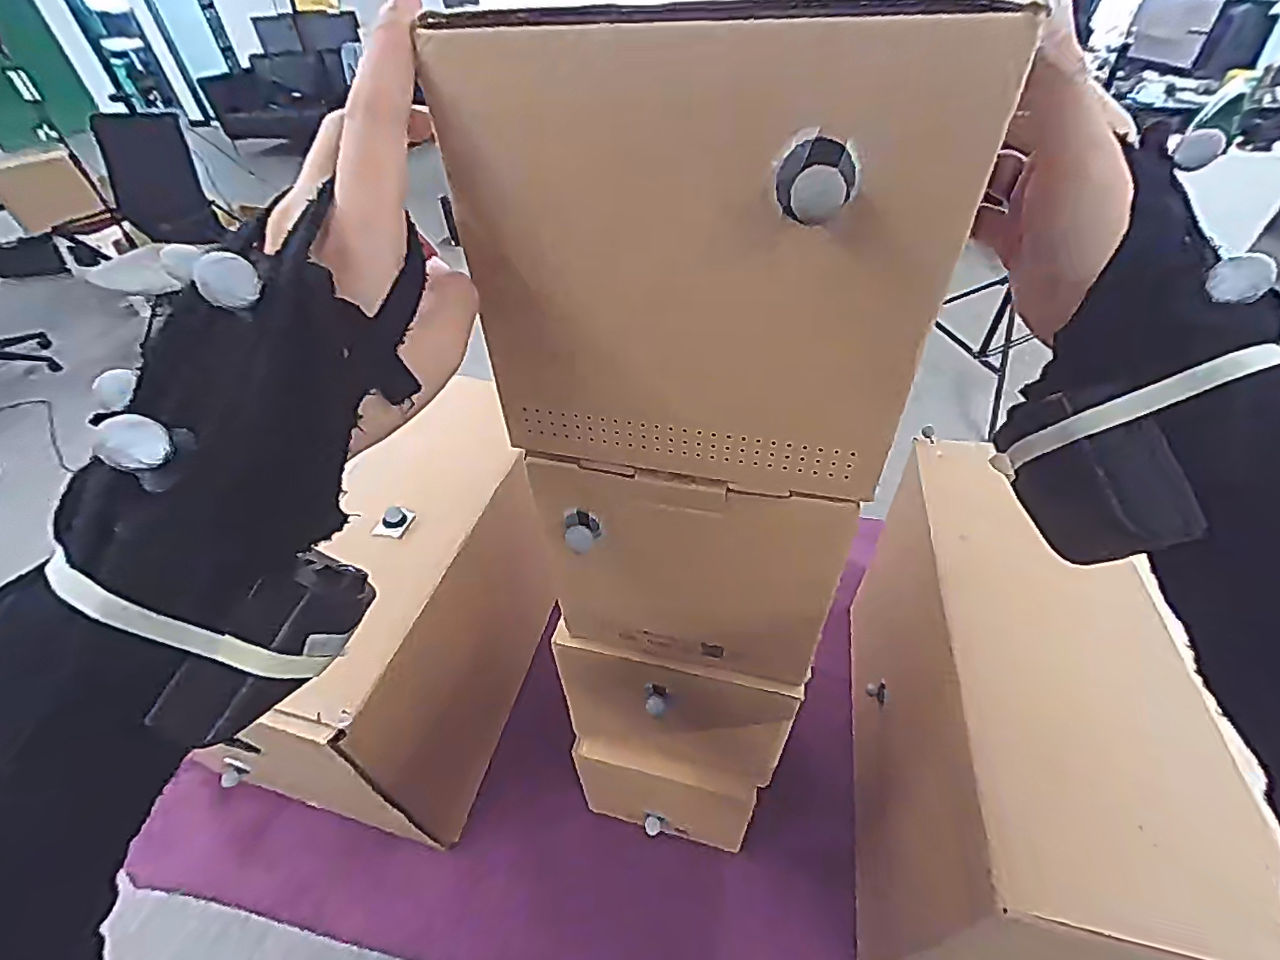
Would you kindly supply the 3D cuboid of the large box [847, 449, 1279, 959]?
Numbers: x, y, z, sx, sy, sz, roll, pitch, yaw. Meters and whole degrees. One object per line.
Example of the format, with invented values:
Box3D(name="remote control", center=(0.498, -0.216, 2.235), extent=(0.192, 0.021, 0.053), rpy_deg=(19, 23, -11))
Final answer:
Box3D(name="large box", center=(0.385, 0.226, 0.495), extent=(0.320, 0.320, 0.408), rpy_deg=(8, 43, 11))
